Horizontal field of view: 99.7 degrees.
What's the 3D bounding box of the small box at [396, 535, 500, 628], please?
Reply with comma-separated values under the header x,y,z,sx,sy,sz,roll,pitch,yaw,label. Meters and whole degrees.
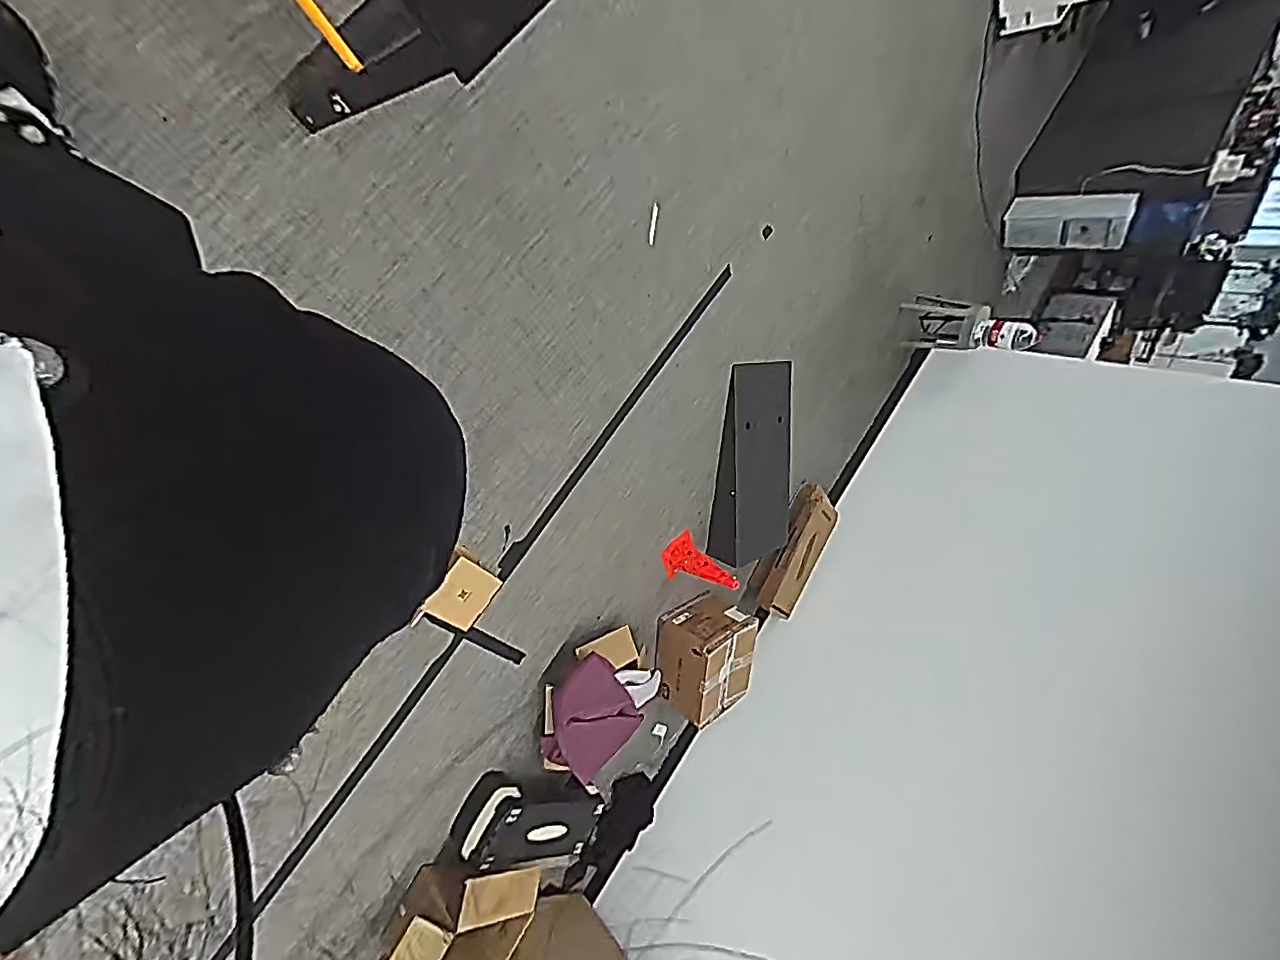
x,y,z,sx,sy,sz,roll,pitch,yaw,label
-0.530,0.275,1.491,0.168,0.176,0.179,-55,137,-13,small box
